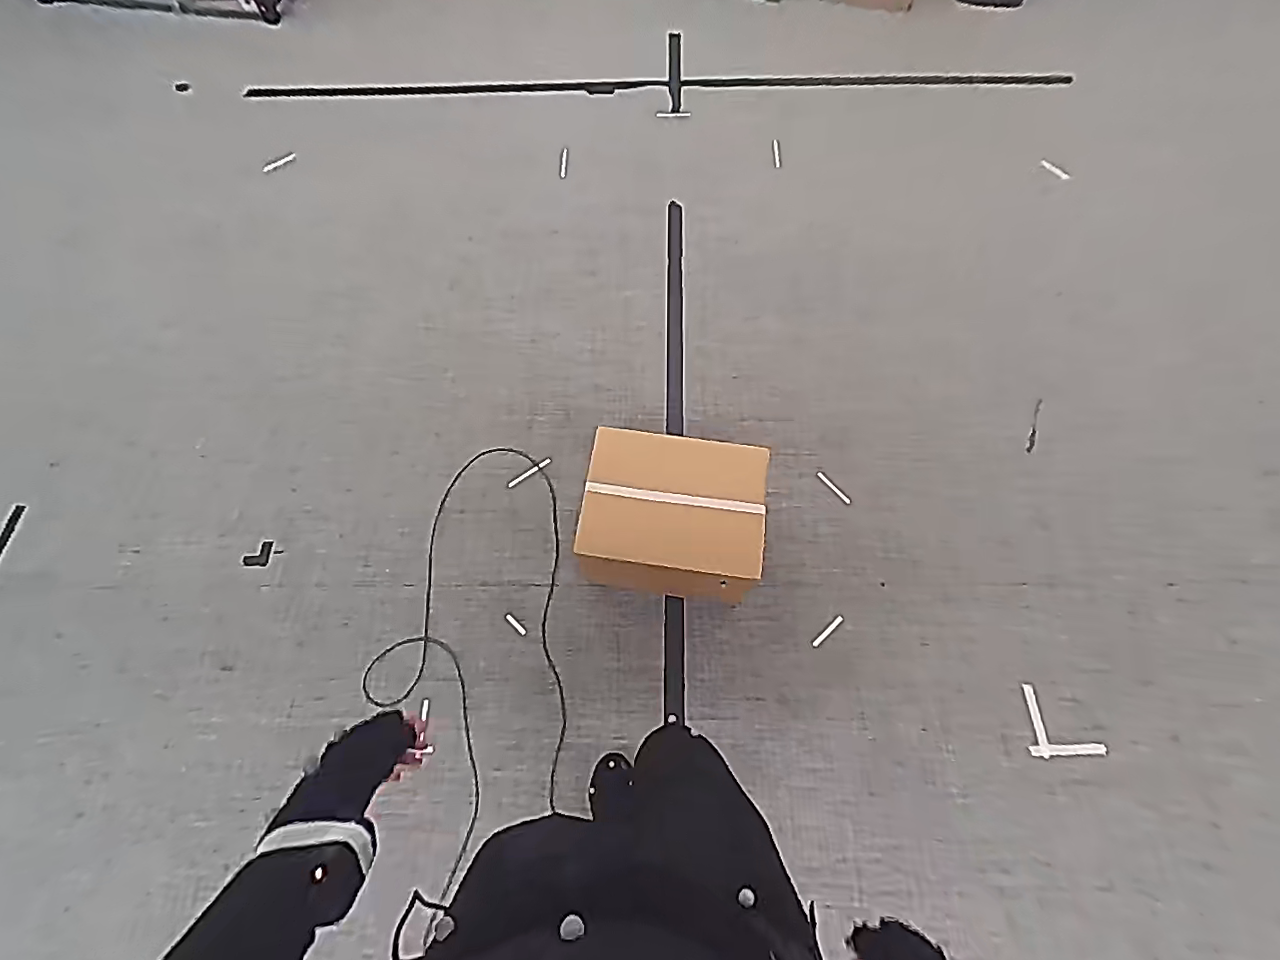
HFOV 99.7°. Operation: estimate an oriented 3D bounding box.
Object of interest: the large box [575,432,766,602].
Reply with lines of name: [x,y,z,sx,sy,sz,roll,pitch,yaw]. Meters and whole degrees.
large box: [0.077,0.105,1.336,0.408,0.320,0.320,8,67,3]
